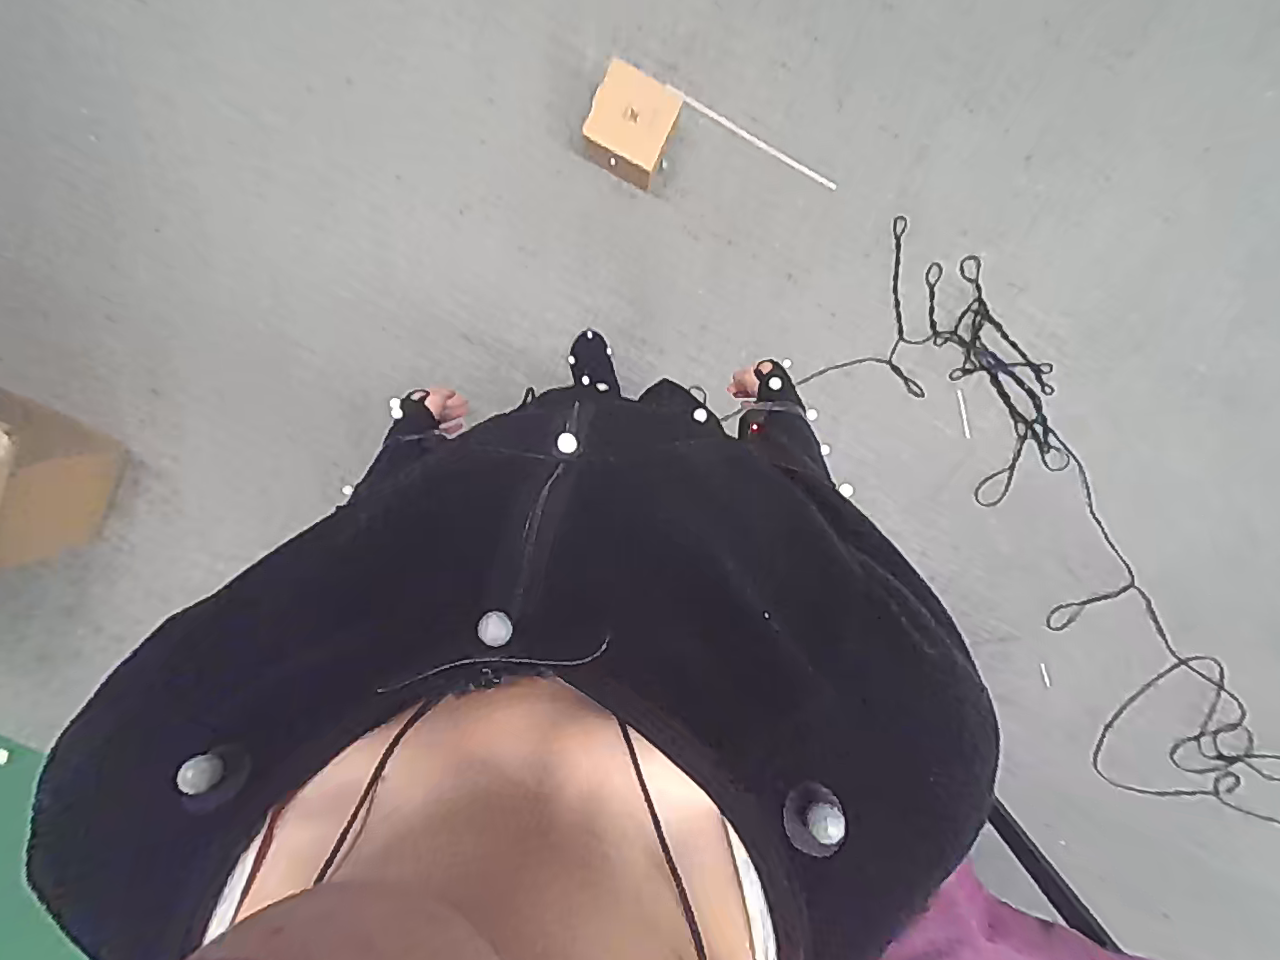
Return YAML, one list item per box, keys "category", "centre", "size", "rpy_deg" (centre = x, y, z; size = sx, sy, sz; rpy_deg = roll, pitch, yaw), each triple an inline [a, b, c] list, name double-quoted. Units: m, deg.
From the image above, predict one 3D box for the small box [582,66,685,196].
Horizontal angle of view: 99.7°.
- category: "small box"
  centre: [-0.015, -0.791, 1.250]
  size: [0.179, 0.176, 0.168]
  rpy_deg: [26, 101, -6]
